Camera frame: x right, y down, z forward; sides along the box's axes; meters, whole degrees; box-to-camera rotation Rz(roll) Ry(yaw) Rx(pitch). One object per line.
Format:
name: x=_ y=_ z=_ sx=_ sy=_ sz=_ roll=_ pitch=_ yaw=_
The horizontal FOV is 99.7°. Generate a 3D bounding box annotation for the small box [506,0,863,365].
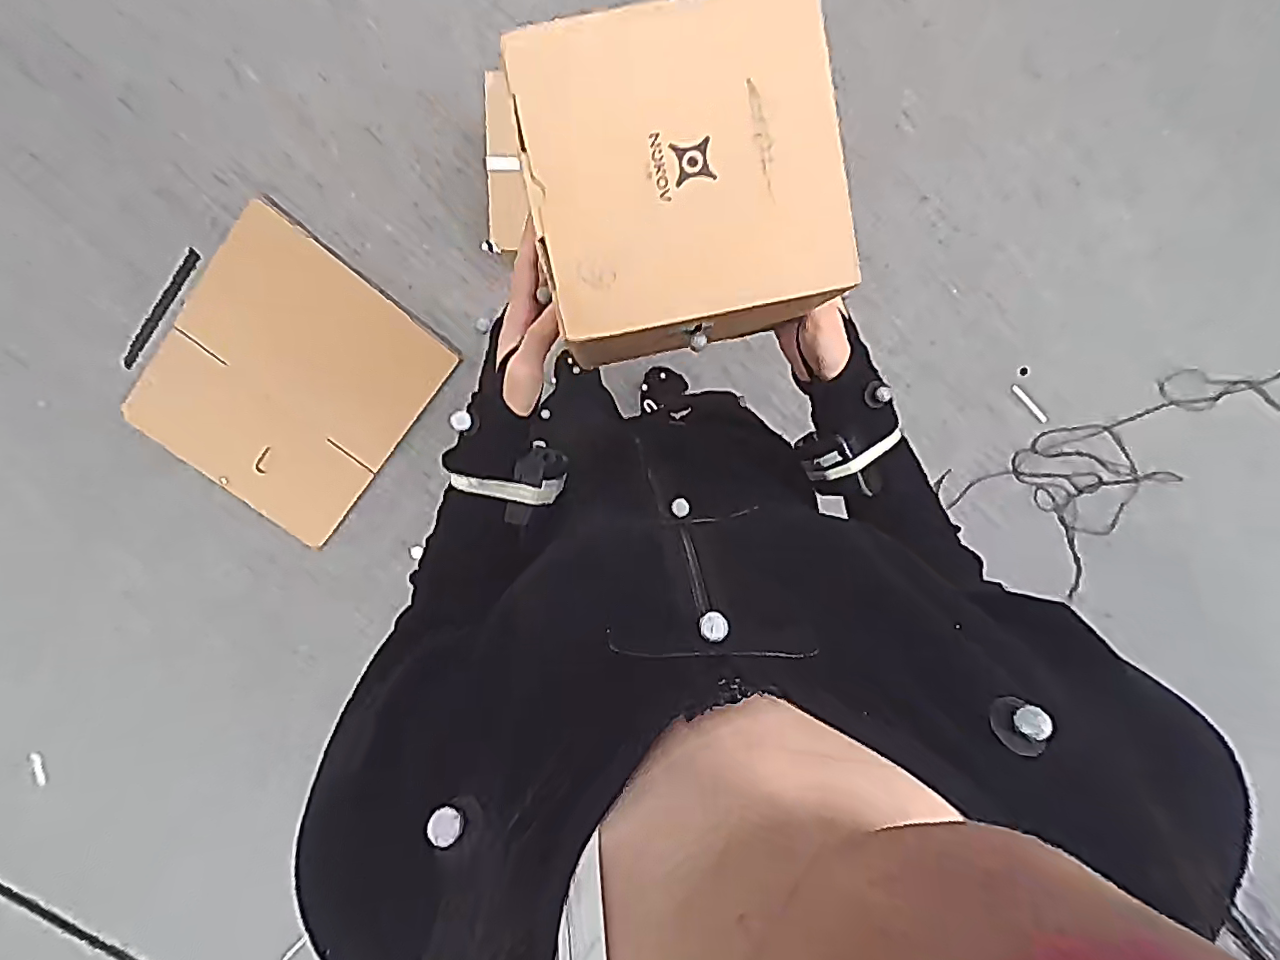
small box: x=0.024 y=-0.182 z=0.376 sx=0.179 sy=0.176 sz=0.168 roll=-12 pitch=97 yaw=-2
